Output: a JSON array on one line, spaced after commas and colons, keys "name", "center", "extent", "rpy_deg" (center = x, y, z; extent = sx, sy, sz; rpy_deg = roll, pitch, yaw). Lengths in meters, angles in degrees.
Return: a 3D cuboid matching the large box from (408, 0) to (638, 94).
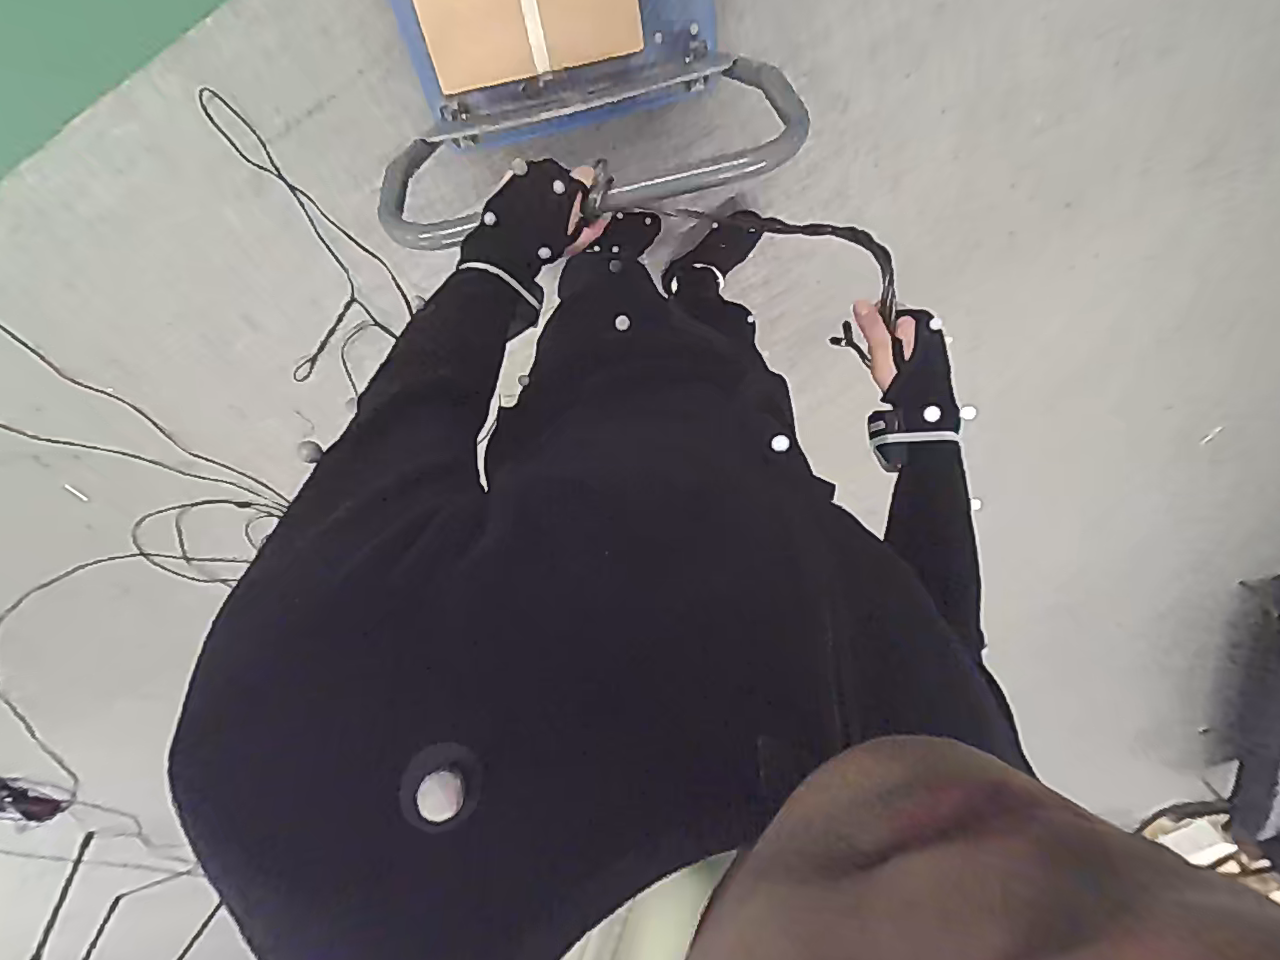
[{"name": "large box", "center": [-0.198, -0.856, 0.810], "extent": [0.320, 0.320, 0.408], "rpy_deg": [-11, 127, 2]}]
